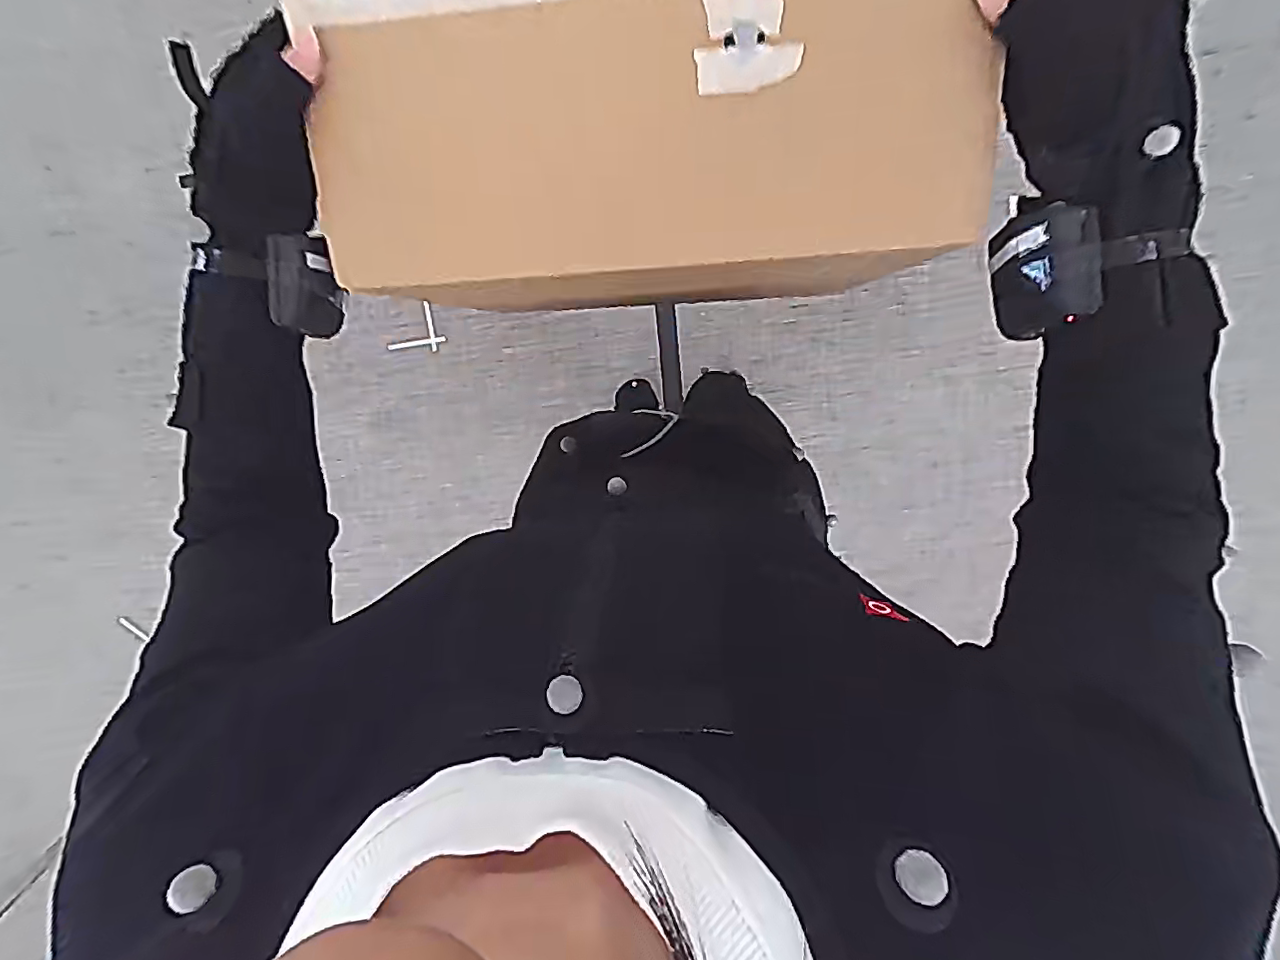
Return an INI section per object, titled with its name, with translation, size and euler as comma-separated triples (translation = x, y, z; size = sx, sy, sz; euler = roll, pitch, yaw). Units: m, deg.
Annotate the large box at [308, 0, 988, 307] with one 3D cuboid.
[large box]
translation = 0.006, -0.331, 0.454
size = 0.408, 0.320, 0.320
euler = -2, 104, 6
